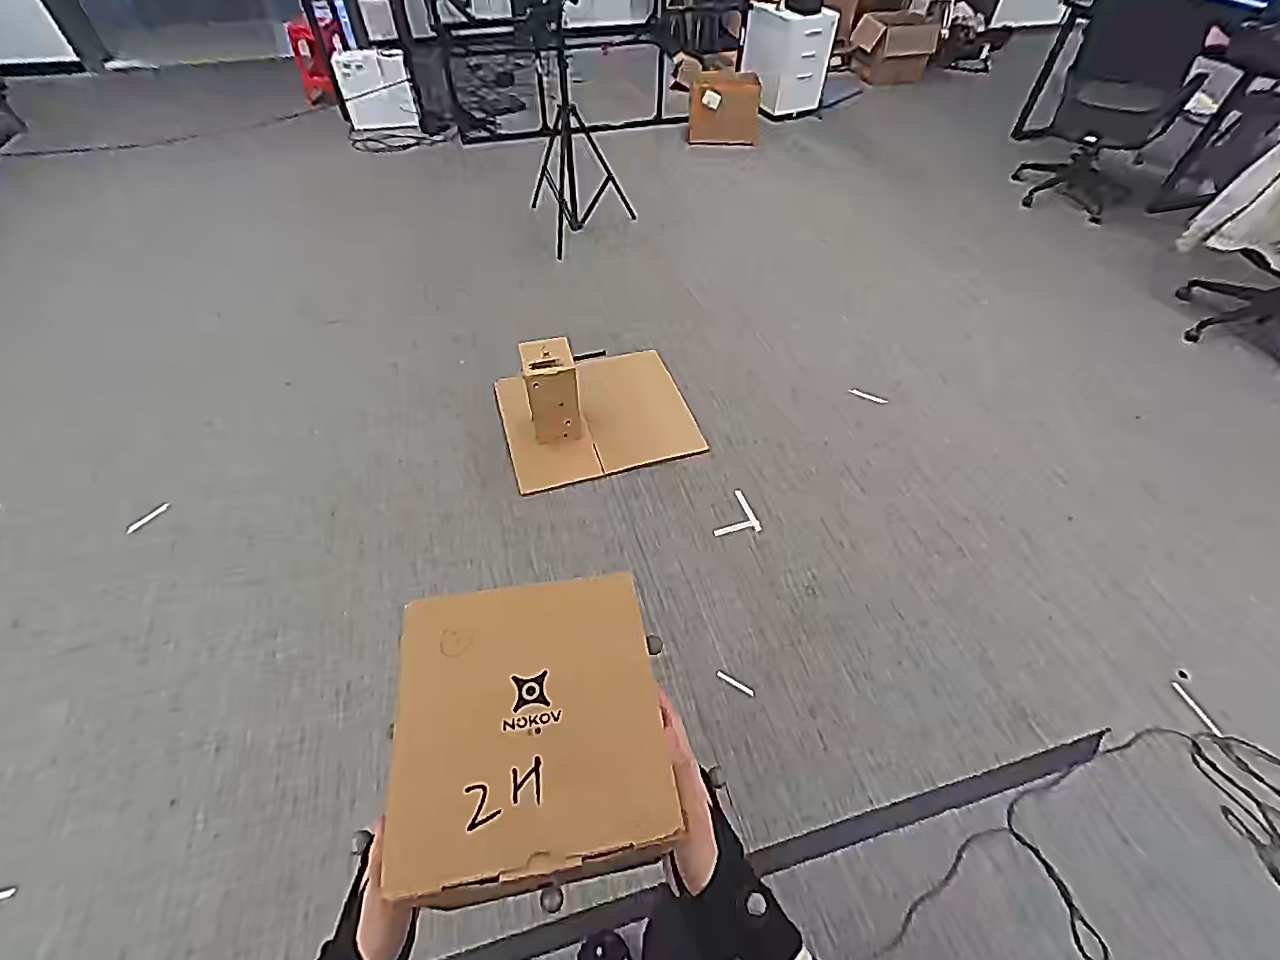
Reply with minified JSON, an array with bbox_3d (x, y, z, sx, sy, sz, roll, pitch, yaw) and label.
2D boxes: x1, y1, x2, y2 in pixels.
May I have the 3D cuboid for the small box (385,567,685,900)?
[{"bbox_3d":[-0.075,0.190,0.407,0.168,0.176,0.179,-6,52,-10],"label":"small box"}]

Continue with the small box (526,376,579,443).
[{"bbox_3d":[-0.318,-0.252,1.979,0.168,0.176,0.179,-10,52,-11],"label":"small box"}]
